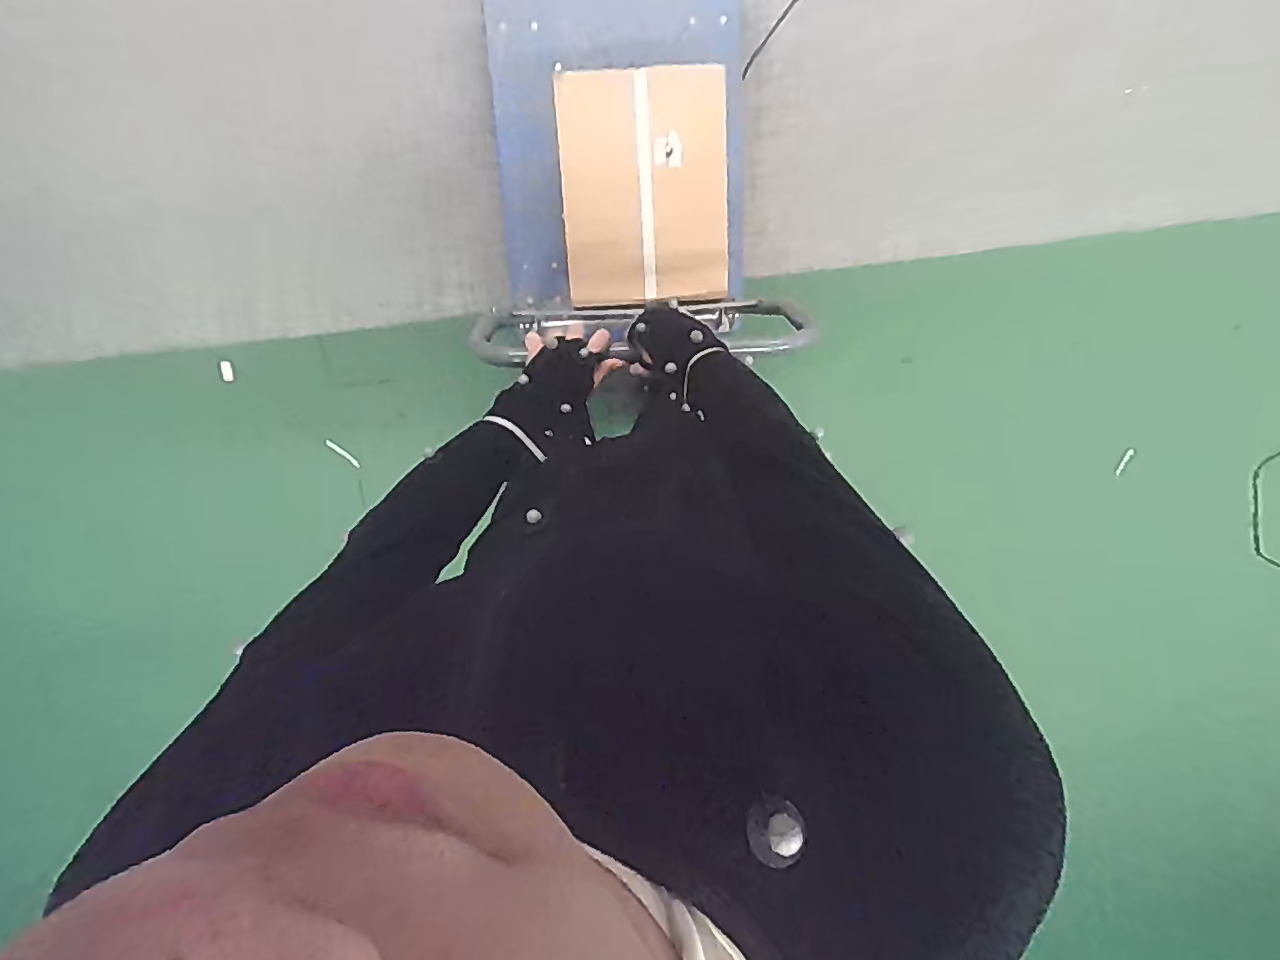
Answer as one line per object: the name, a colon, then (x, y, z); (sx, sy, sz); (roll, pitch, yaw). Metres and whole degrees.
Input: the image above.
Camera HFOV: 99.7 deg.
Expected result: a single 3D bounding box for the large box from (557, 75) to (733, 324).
large box: (0.012, -0.560, 1.161); (0.320, 0.320, 0.408); (-4, 103, -2)
